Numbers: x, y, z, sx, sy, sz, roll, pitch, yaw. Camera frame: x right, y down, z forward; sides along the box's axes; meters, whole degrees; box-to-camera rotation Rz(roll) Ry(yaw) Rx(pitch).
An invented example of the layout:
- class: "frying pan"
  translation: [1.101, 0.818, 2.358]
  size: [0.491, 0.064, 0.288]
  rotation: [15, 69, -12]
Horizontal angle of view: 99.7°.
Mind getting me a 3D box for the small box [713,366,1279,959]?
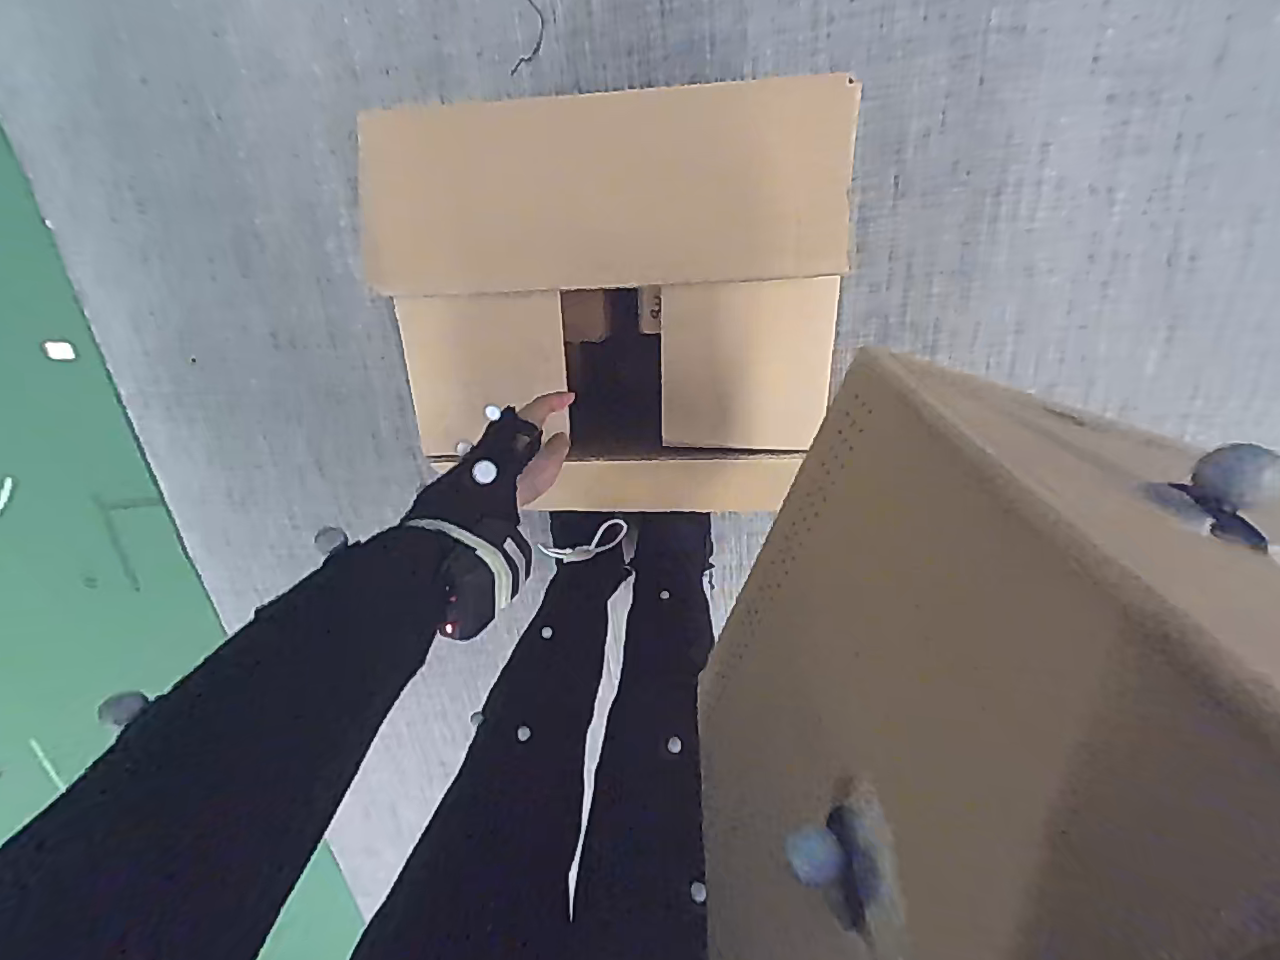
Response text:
- class: "small box"
  translation: [0.125, 0.085, 0.162]
  size: [0.168, 0.176, 0.179]
  rotation: [16, 119, -4]
